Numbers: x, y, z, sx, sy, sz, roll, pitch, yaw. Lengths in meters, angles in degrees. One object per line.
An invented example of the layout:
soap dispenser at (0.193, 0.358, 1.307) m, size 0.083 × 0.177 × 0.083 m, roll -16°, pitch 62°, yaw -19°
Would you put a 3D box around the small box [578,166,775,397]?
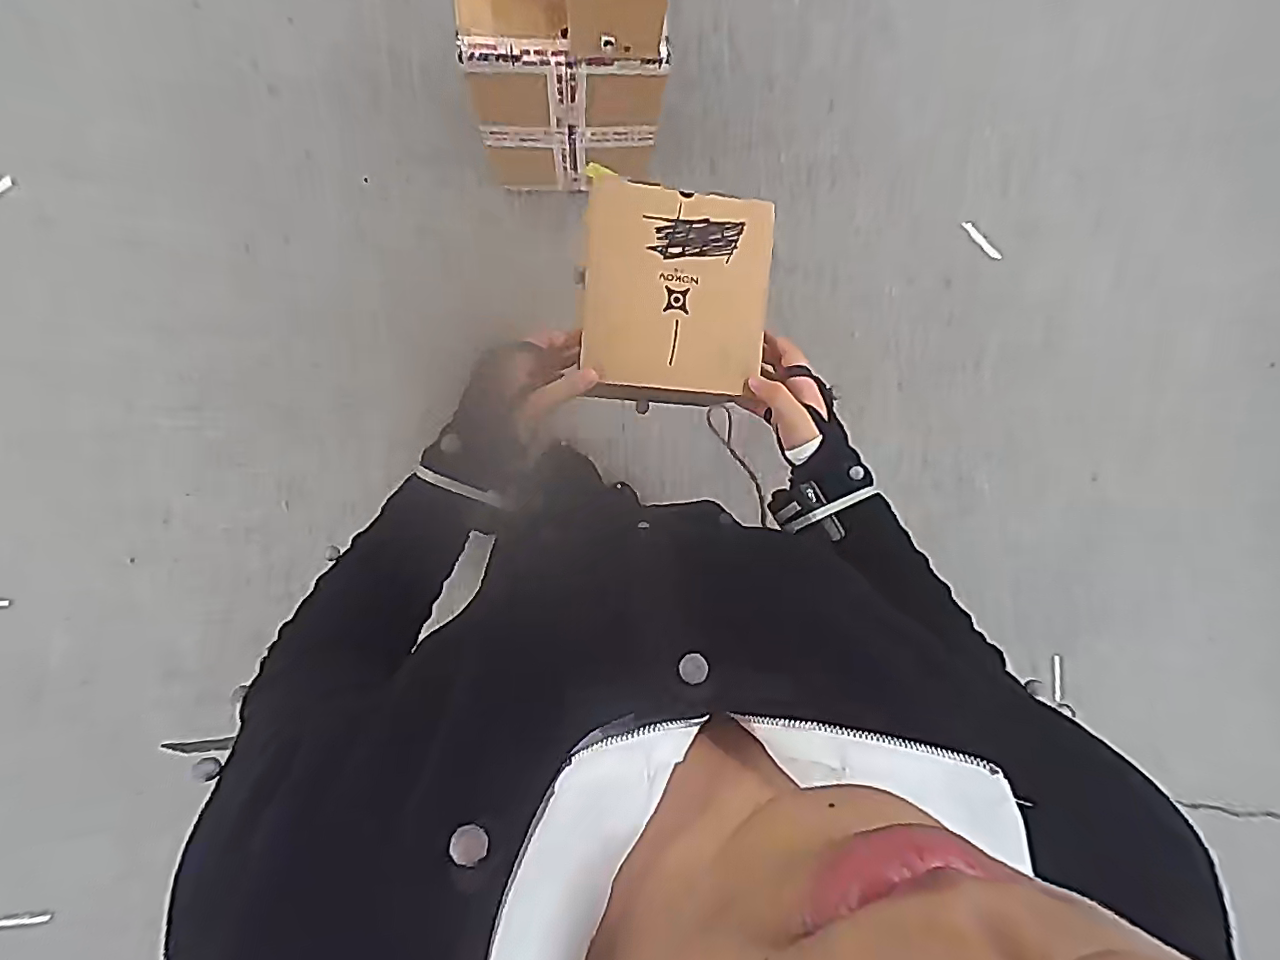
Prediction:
small box at (0.024, -0.185, 0.558) m, size 0.168 × 0.176 × 0.179 m, roll 3°, pitch 95°, yaw -9°
